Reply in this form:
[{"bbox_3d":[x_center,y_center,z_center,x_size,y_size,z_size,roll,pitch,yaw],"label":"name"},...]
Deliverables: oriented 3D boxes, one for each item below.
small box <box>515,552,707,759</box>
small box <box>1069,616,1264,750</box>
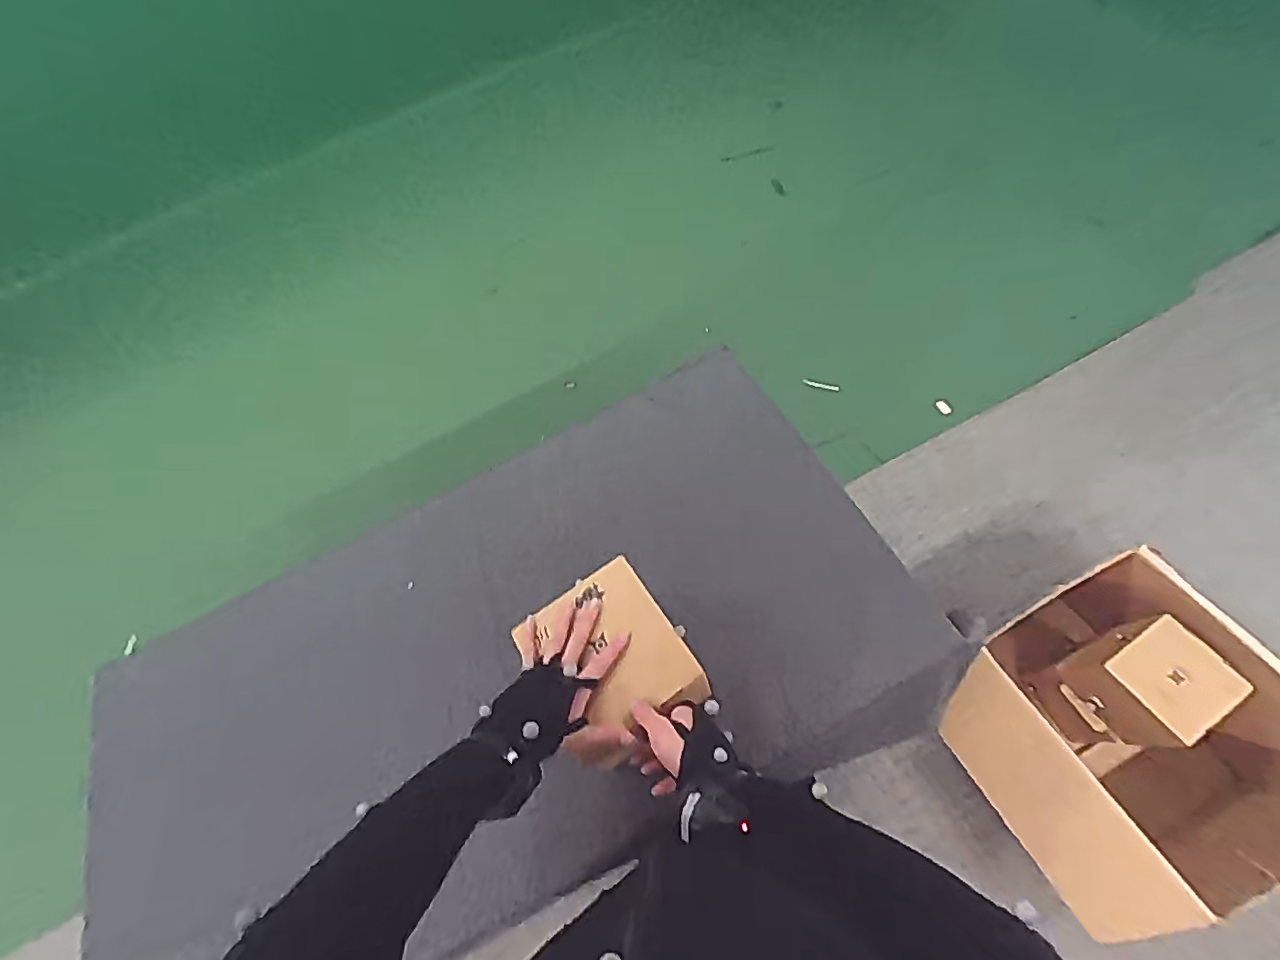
[{"bbox_3d":[-0.026,0.227,0.692,0.168,0.176,0.179,-33,62,-8],"label":"small box"},{"bbox_3d":[0.989,0.390,1.037,0.179,0.176,0.168,-34,64,-7],"label":"small box"}]
